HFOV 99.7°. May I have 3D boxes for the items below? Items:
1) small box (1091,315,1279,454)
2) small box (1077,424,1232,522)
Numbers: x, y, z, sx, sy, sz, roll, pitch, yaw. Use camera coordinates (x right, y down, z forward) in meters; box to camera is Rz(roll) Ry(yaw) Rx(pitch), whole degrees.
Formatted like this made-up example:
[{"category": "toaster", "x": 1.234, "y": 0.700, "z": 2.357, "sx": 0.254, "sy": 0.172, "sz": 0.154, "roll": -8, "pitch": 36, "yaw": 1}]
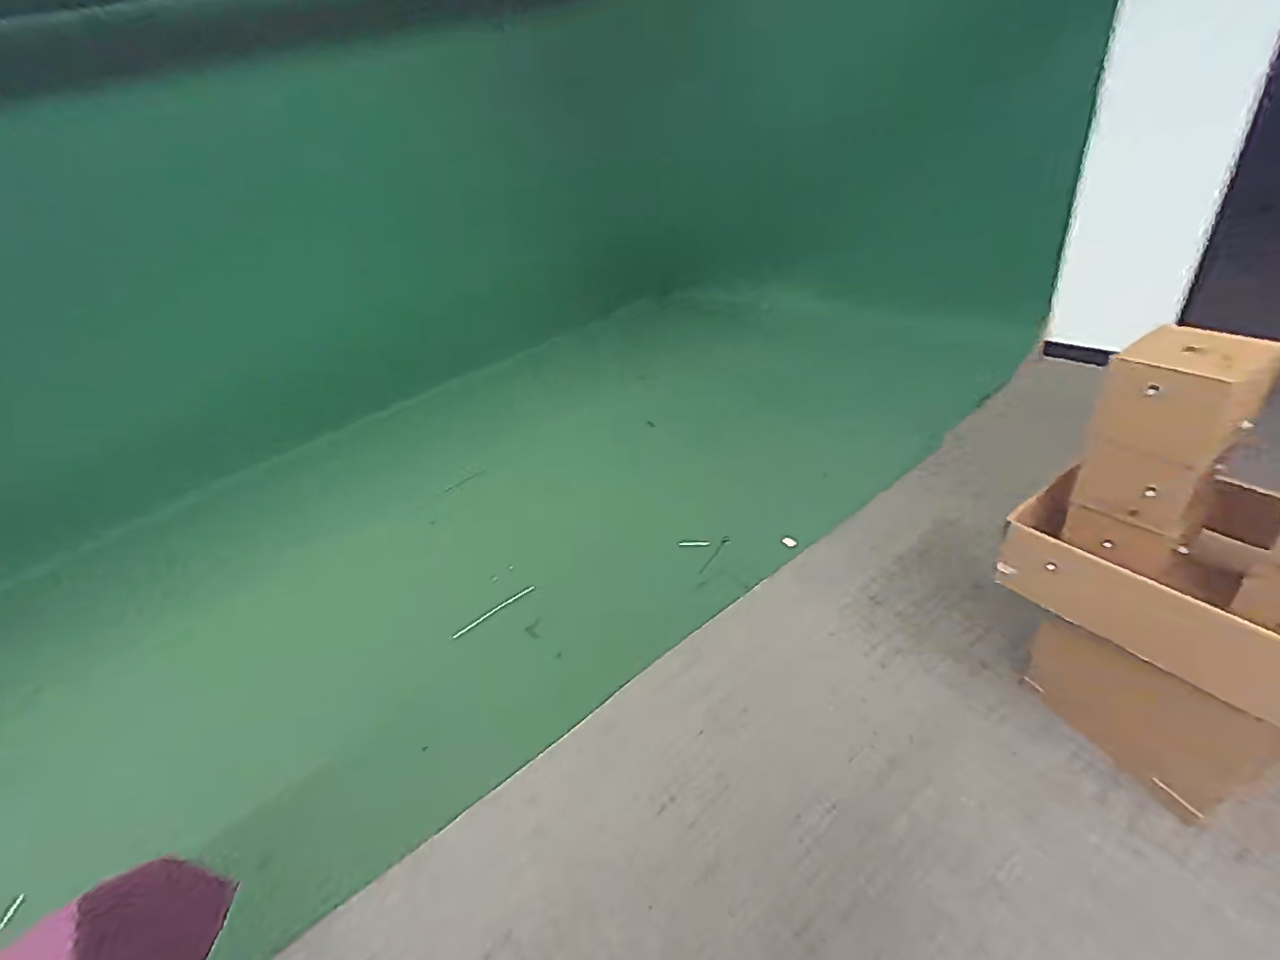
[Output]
[{"category": "small box", "x": 0.958, "y": -0.172, "z": 0.963, "sx": 0.168, "sy": 0.176, "sz": 0.179, "roll": -29, "pitch": 38, "yaw": -16}, {"category": "small box", "x": 1.003, "y": -0.047, "z": 1.061, "sx": 0.179, "sy": 0.176, "sz": 0.168, "roll": -30, "pitch": 38, "yaw": -19}]
